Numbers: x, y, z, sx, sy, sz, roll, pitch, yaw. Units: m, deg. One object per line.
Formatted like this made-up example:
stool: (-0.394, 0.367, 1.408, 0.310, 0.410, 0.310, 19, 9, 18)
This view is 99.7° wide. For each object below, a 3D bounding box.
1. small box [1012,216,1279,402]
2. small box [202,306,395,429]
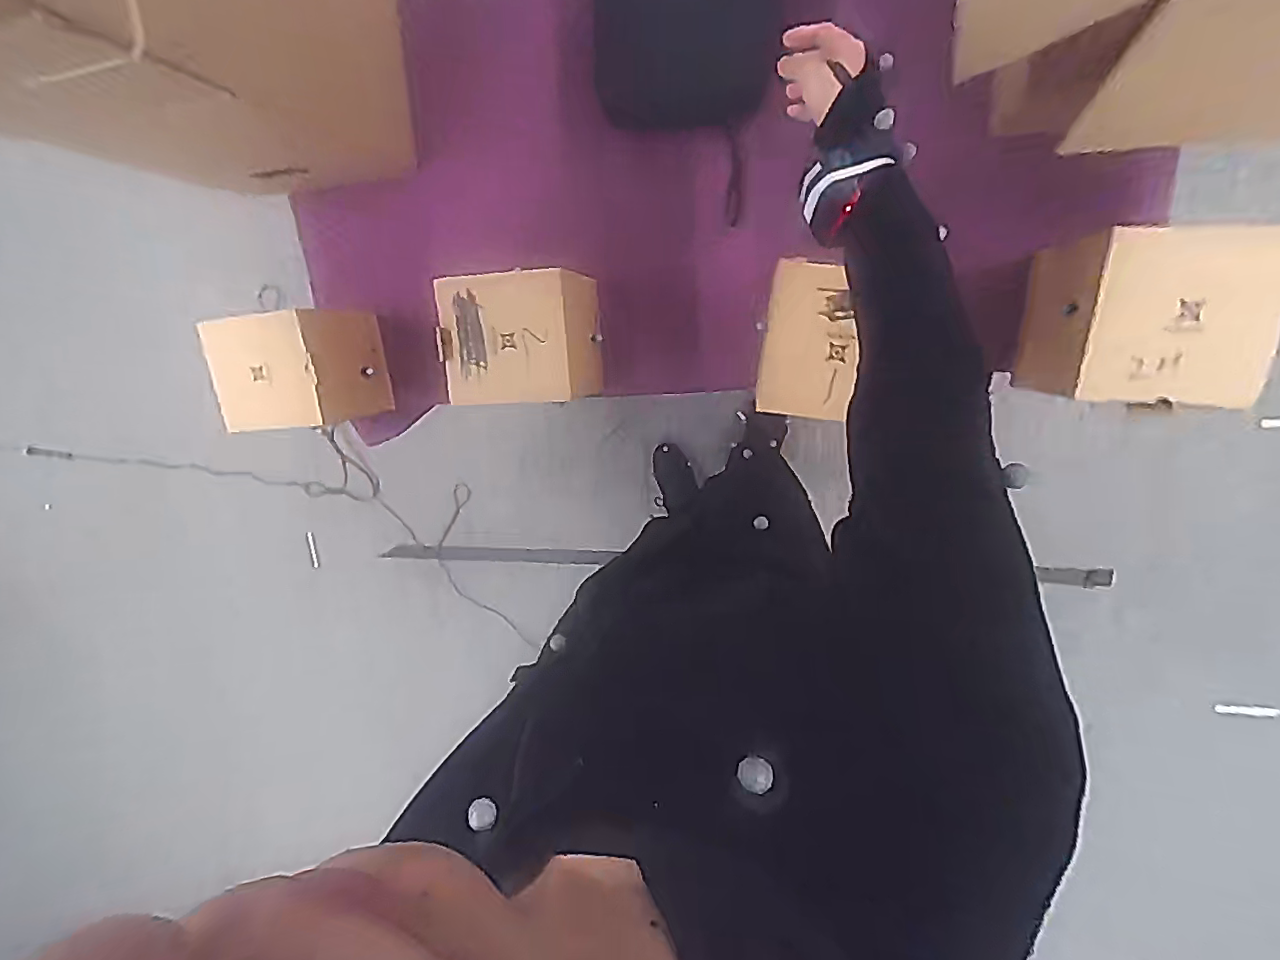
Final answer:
small box: (0.564, -0.190, 0.621, 0.168, 0.176, 0.179, 5, 106, 12)
small box: (-0.529, -0.179, 0.860, 0.179, 0.176, 0.168, -3, 105, 12)
